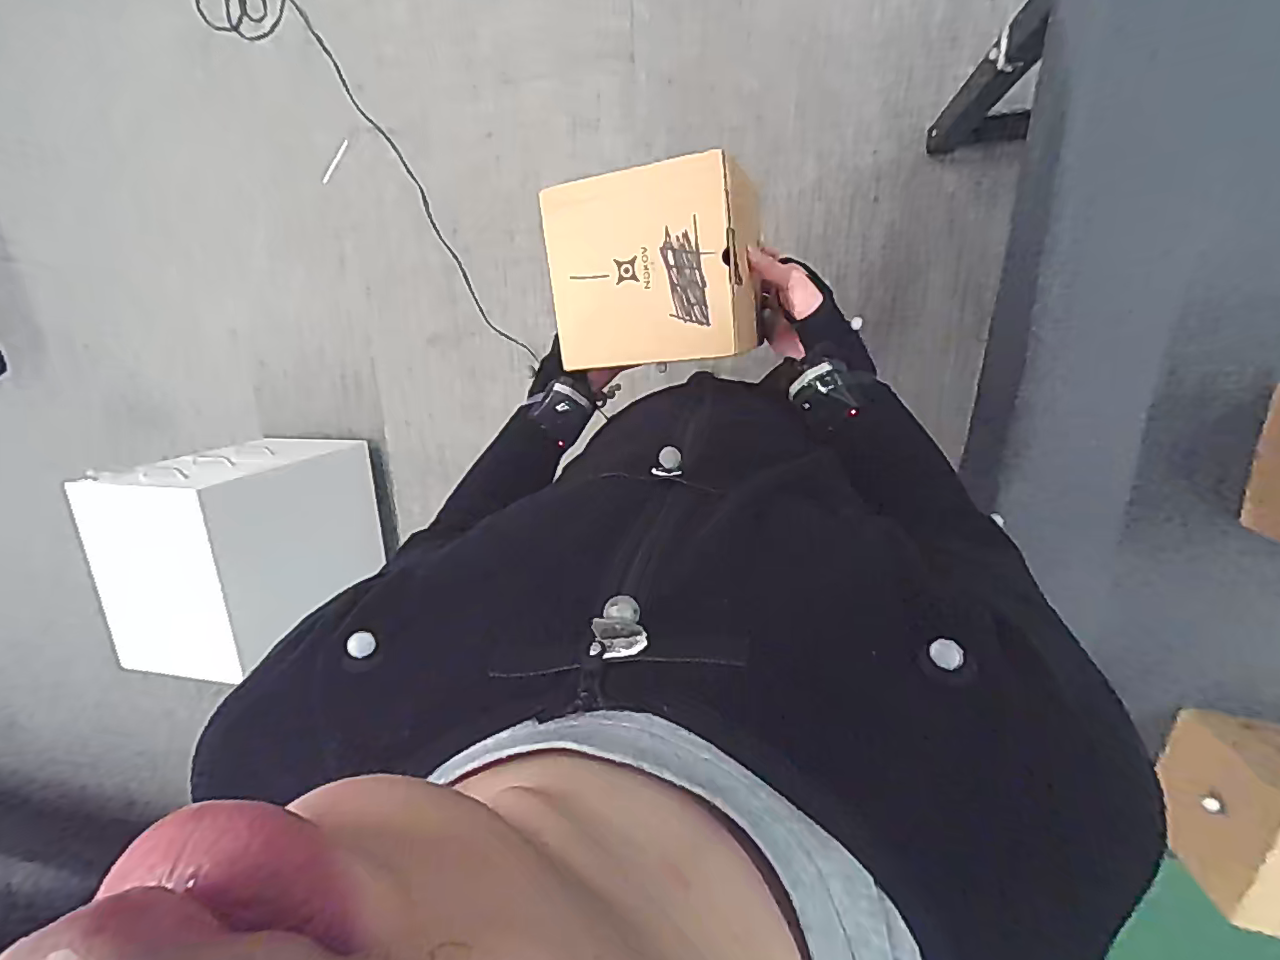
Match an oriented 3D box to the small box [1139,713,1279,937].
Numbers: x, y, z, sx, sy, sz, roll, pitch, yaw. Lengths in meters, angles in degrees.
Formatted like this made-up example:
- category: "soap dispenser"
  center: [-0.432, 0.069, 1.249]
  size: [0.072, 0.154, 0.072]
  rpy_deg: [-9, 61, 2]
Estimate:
- category: "small box"
  center: [0.776, 0.422, 0.665]
  size: [0.168, 0.176, 0.179]
  rpy_deg: [9, 106, 12]
